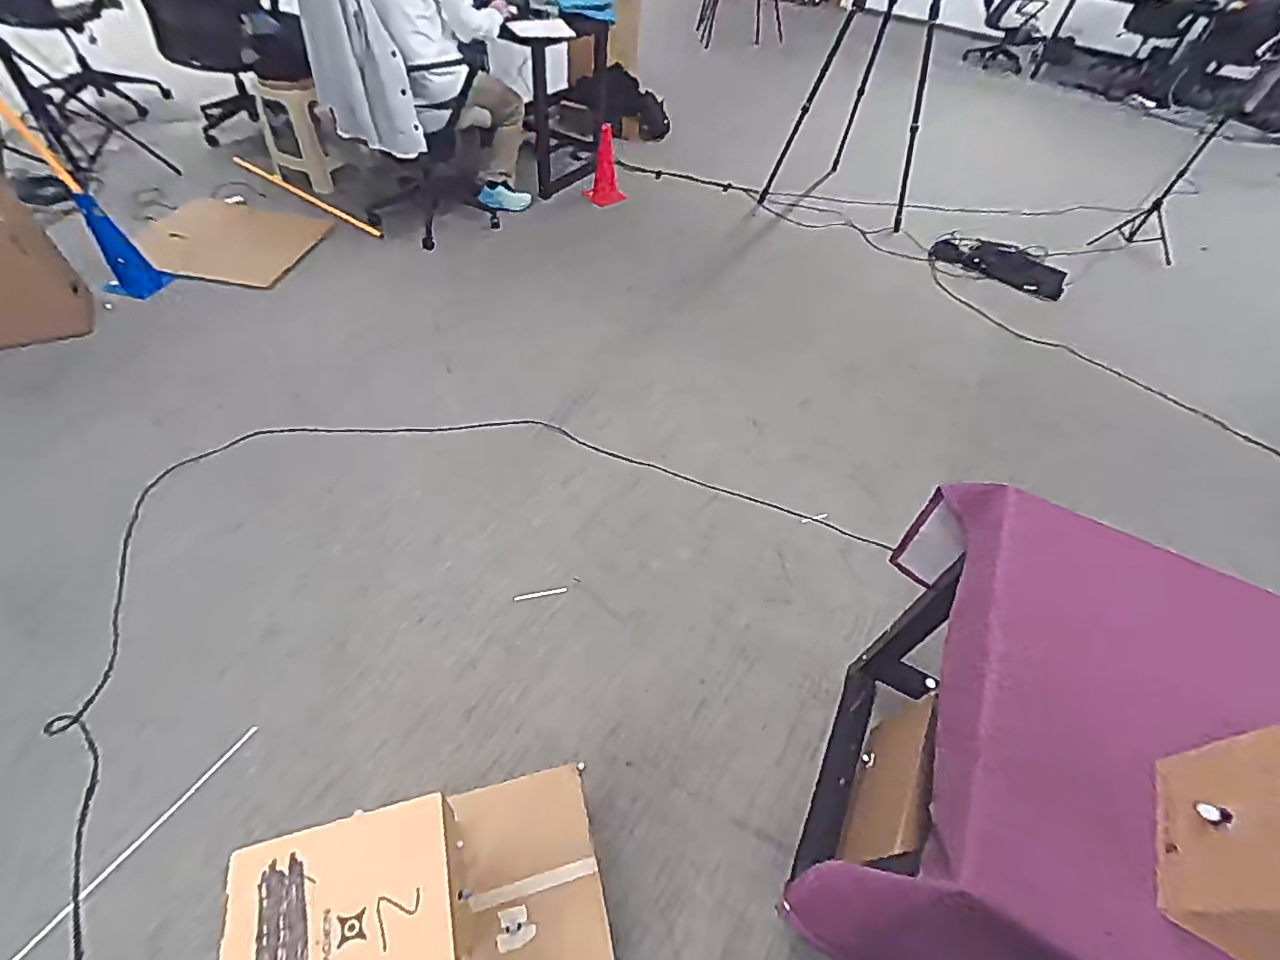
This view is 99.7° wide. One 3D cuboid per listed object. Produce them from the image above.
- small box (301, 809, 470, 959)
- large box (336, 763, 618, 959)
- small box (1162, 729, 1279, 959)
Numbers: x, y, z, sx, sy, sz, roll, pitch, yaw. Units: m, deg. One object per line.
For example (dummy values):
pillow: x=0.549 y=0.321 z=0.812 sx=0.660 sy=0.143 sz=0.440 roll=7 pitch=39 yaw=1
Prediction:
small box: x=-0.339 y=0.585 z=0.744 sx=0.179 sy=0.176 sz=0.168 roll=-12 pitch=51 yaw=-15
large box: x=-0.273 y=0.745 z=0.939 sx=0.408 sy=0.320 sz=0.320 roll=-9 pitch=53 yaw=-14
small box: x=0.625 y=0.365 z=0.485 sx=0.179 sy=0.176 sz=0.168 roll=29 pitch=54 yaw=18
